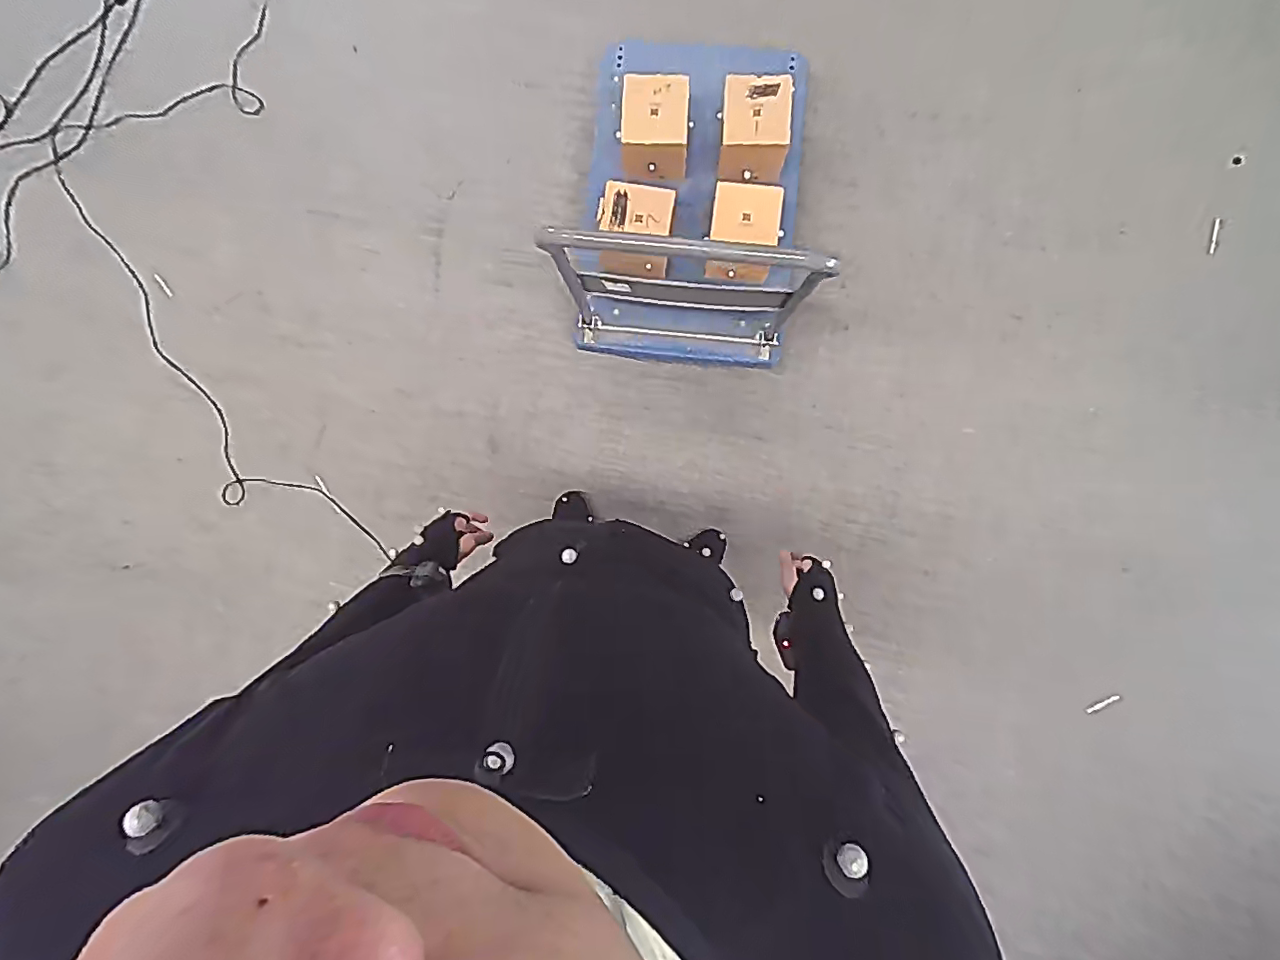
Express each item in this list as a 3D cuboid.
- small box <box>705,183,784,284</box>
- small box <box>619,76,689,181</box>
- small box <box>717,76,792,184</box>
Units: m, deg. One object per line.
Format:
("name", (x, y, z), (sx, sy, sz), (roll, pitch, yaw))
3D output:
("small box", (0.263, -0.632, 1.400), (0.168, 0.176, 0.179), (7, 90, 3))
("small box", (0.039, -0.910, 1.414), (0.168, 0.176, 0.179), (3, 89, 2))
("small box", (0.291, -0.901, 1.402), (0.168, 0.176, 0.179), (3, 90, 4))
